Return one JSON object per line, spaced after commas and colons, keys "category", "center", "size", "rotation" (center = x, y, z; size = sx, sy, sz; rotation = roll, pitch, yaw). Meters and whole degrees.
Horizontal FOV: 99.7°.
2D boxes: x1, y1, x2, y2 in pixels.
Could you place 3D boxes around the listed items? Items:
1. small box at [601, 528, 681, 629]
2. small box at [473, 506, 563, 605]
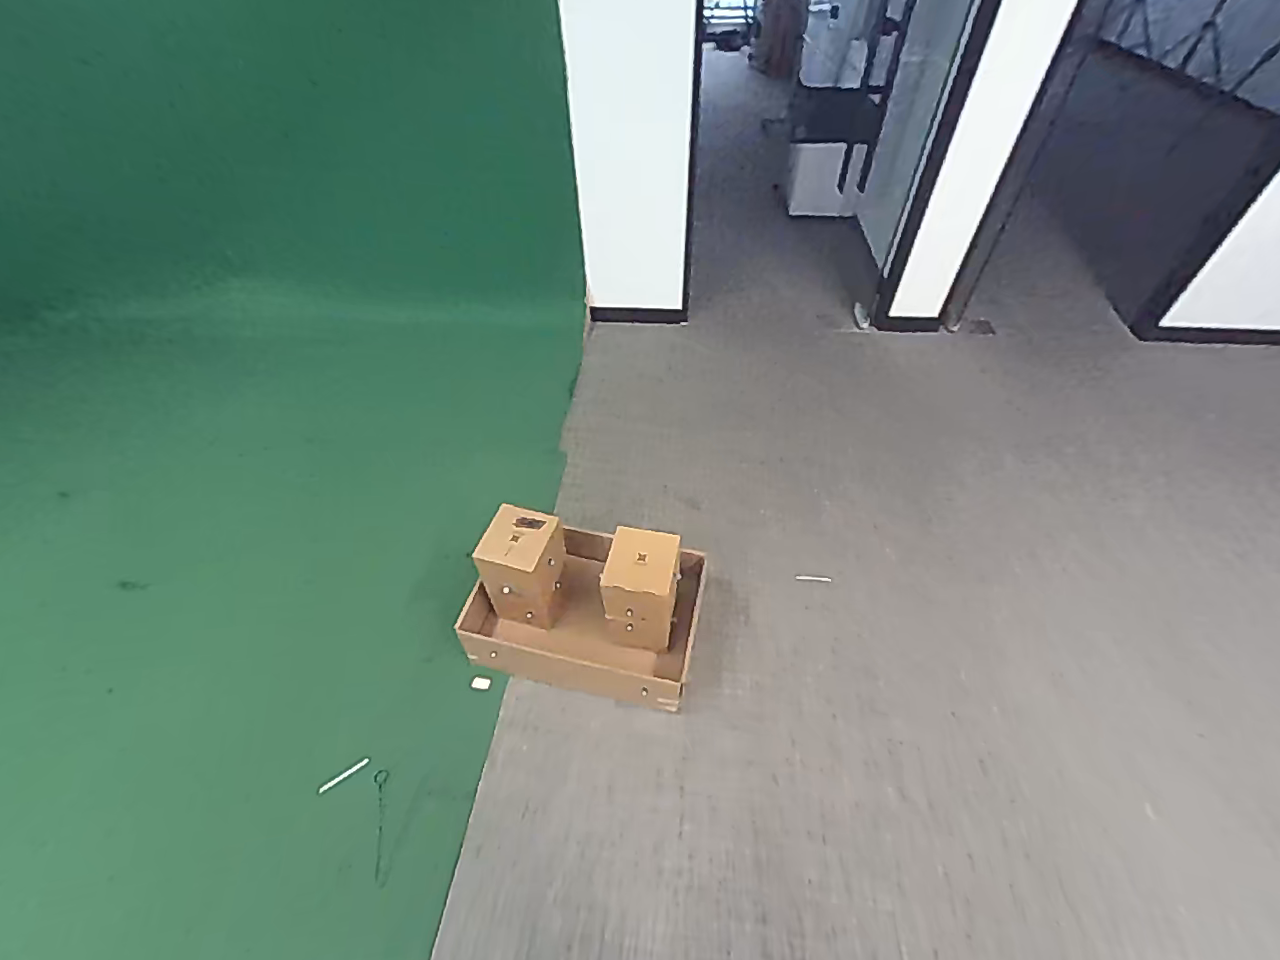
{"category": "small box", "center": [0.005, 0.250, 1.373], "size": [0.168, 0.176, 0.179], "rotation": [9, 50, 10]}
{"category": "small box", "center": [-0.312, 0.200, 1.425], "size": [0.168, 0.176, 0.179], "rotation": [13, 51, 11]}
